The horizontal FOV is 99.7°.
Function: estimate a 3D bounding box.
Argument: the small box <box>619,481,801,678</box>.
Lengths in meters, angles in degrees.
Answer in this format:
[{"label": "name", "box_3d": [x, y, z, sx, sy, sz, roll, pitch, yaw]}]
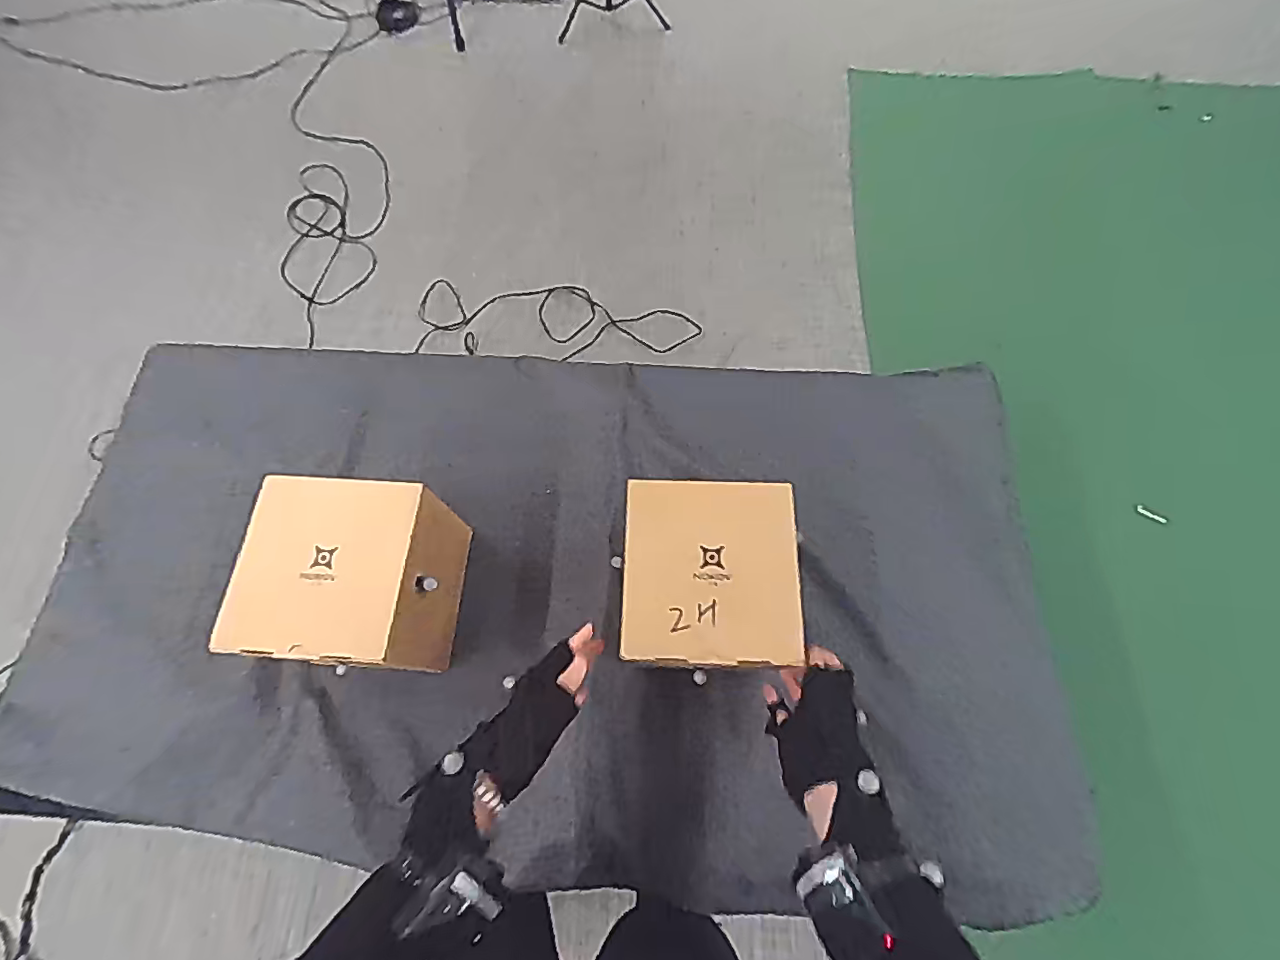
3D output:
[{"label": "small box", "box_3d": [0.067, 0.115, 0.585, 0.168, 0.176, 0.179, 2, 68, 2]}]

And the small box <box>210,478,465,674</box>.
[{"label": "small box", "box_3d": [-0.305, 0.113, 0.594, 0.168, 0.176, 0.179, 3, 69, 2]}]
